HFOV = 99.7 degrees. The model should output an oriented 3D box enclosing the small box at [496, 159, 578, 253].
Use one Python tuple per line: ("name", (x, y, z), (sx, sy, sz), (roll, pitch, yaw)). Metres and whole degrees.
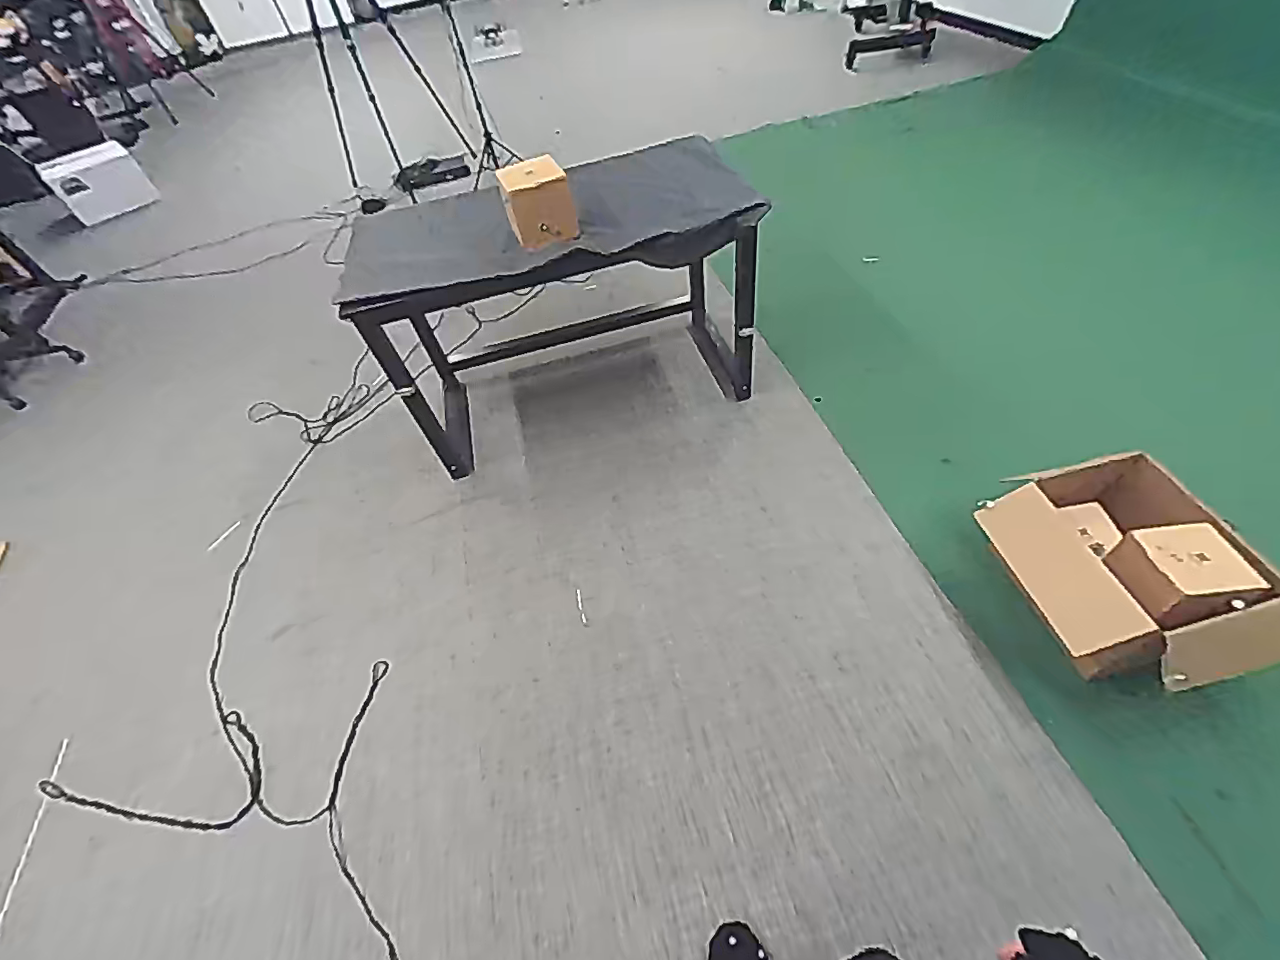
("small box", (-0.290, -0.774, 1.530), (0.168, 0.176, 0.179), (-22, 52, -9))
